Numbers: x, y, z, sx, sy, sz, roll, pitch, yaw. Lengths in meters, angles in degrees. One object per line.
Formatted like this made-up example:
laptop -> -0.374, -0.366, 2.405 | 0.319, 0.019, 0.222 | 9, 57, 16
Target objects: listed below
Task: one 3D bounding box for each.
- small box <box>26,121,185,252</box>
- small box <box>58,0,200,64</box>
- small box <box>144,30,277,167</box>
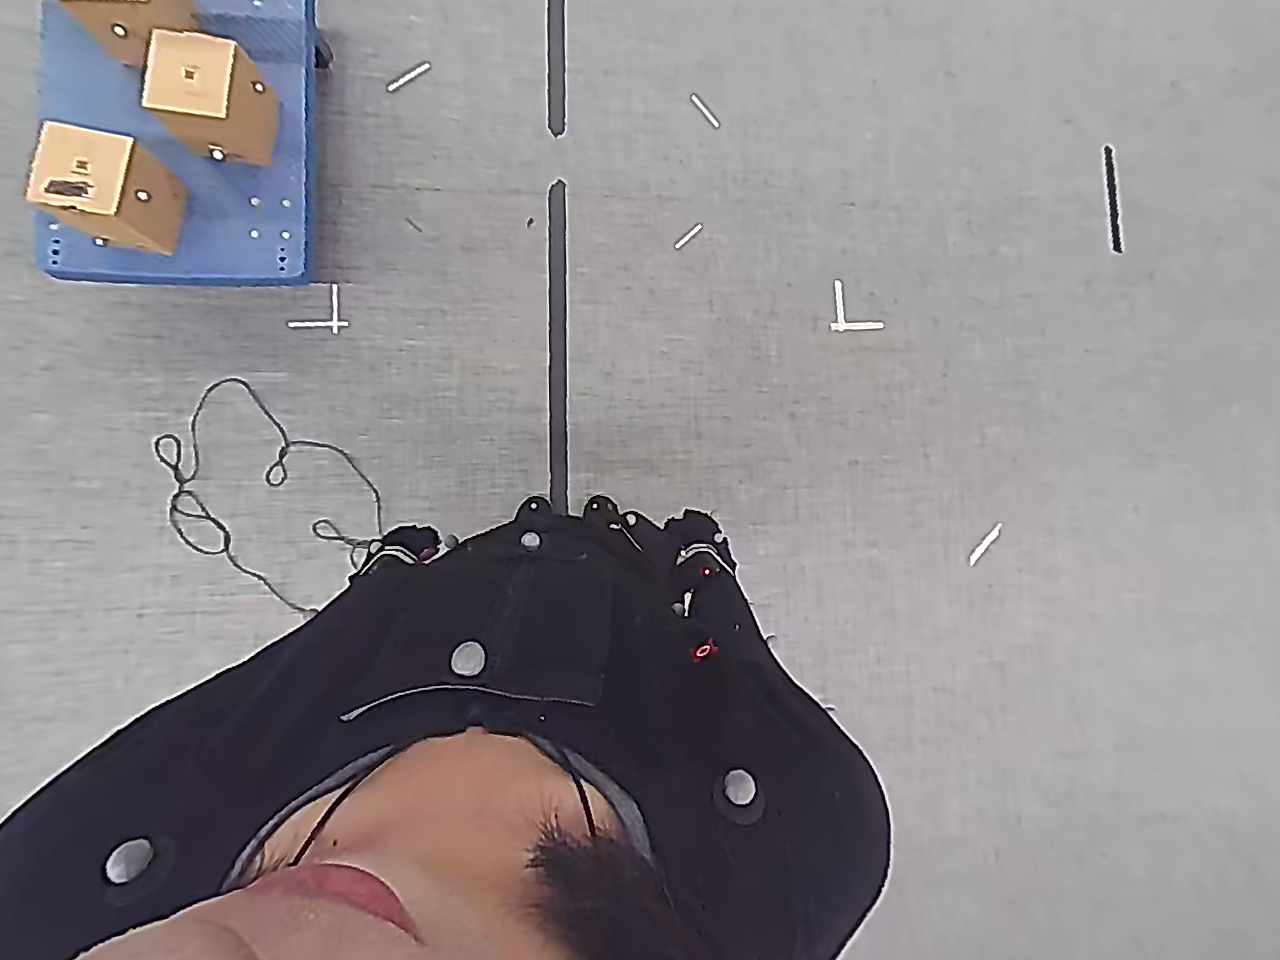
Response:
small box -> -1.143, -0.624, 1.173 | 0.168, 0.176, 0.179 | 9, 84, -7
small box -> -1.131, -1.068, 1.204 | 0.179, 0.176, 0.168 | -5, 88, -7
small box -> -0.951, -0.848, 1.215 | 0.168, 0.176, 0.179 | 5, 87, -5
